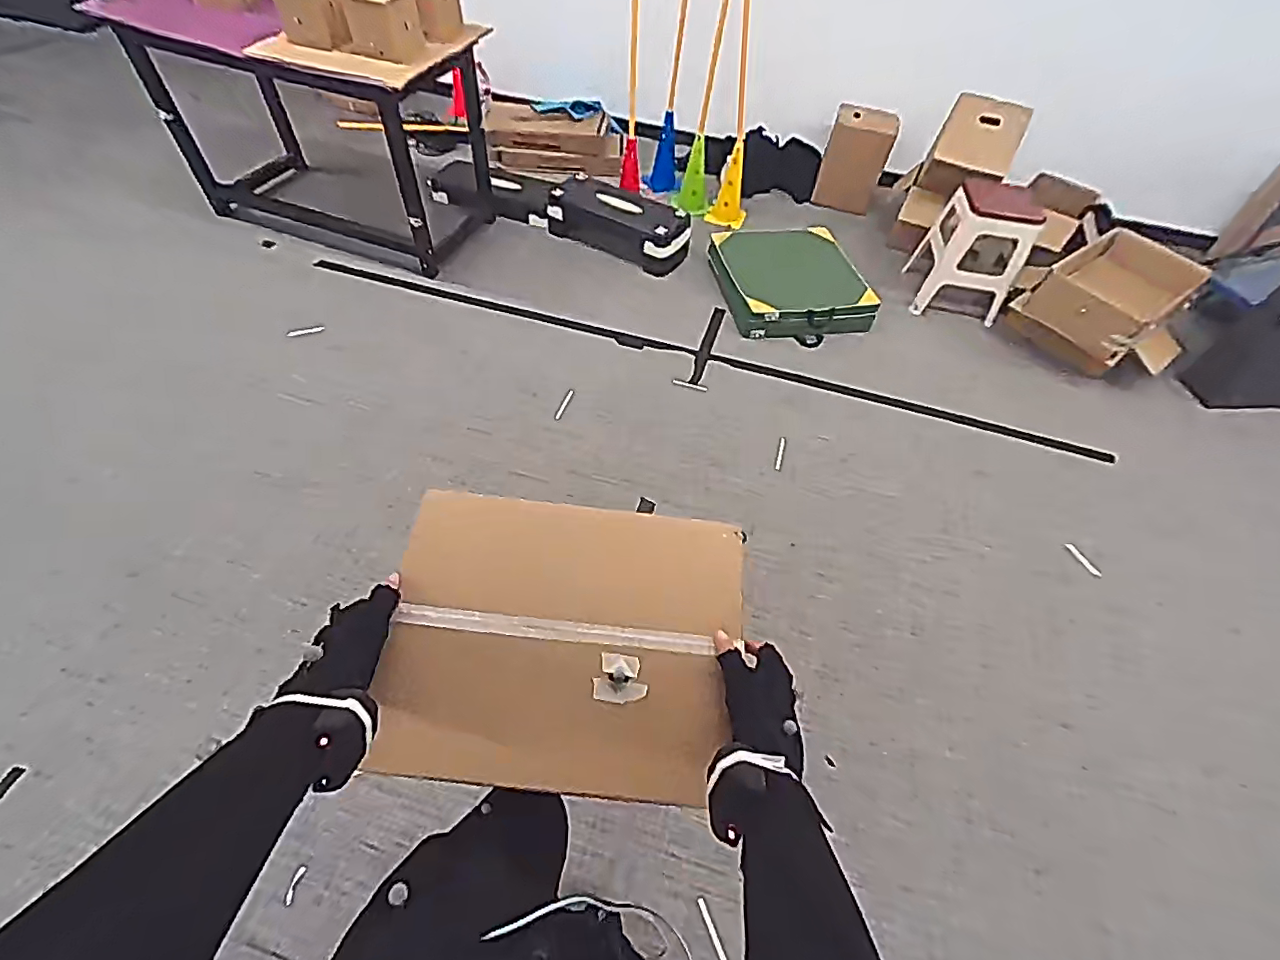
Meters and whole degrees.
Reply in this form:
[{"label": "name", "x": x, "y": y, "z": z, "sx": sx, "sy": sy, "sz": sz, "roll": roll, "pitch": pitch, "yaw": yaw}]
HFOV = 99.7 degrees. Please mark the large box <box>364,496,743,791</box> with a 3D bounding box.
[{"label": "large box", "x": -0.091, "y": 0.243, "z": 0.761, "sx": 0.408, "sy": 0.320, "sz": 0.320, "roll": 7, "pitch": 62, "yaw": -2}]
